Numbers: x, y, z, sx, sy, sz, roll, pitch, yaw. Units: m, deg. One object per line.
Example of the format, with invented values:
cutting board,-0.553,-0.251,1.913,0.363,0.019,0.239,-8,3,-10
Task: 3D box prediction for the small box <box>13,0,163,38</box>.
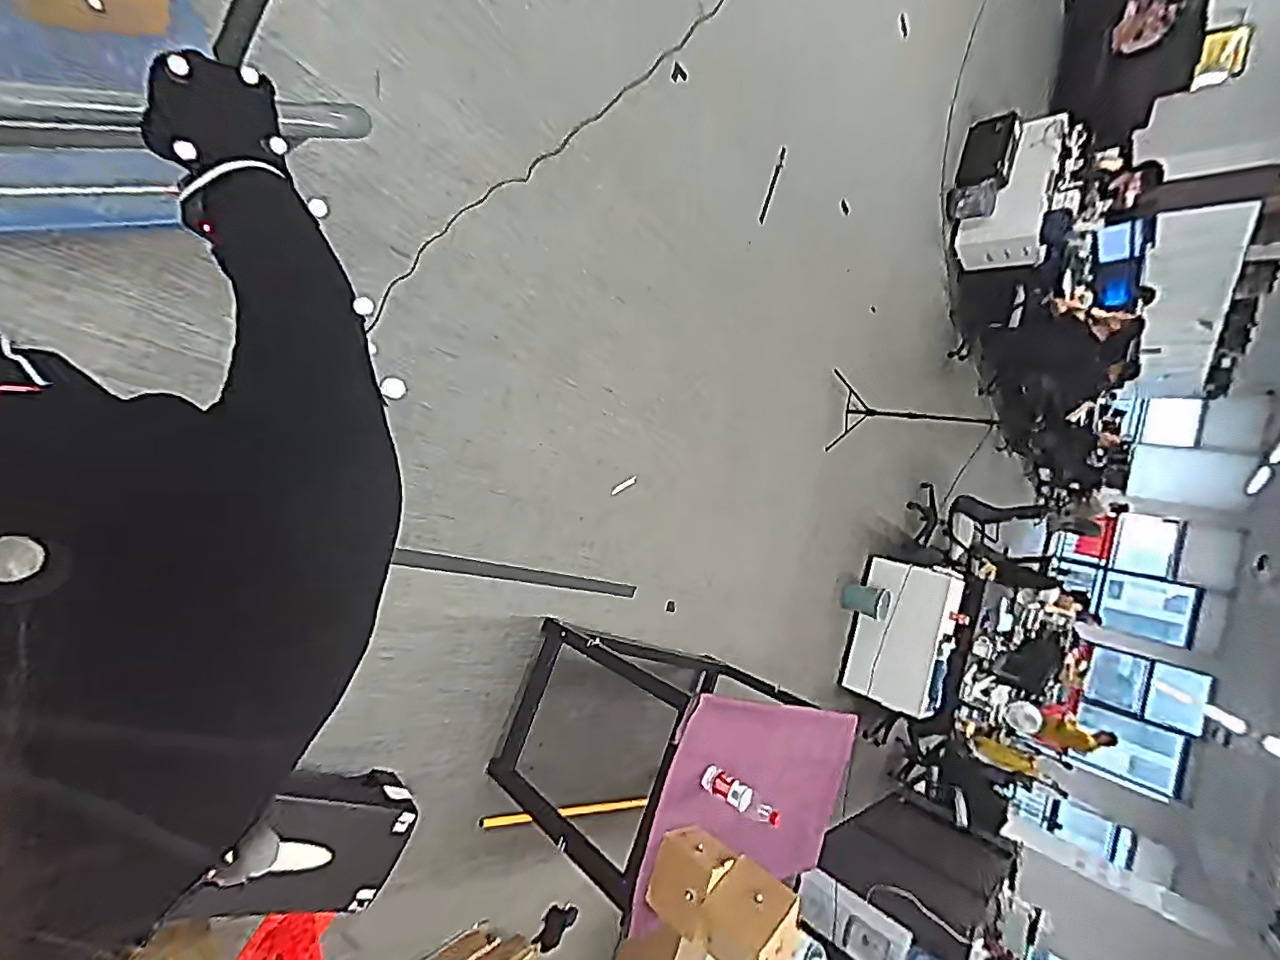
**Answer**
small box,-0.837,-0.784,0.790,0.179,0.176,0.168,-30,119,-38
